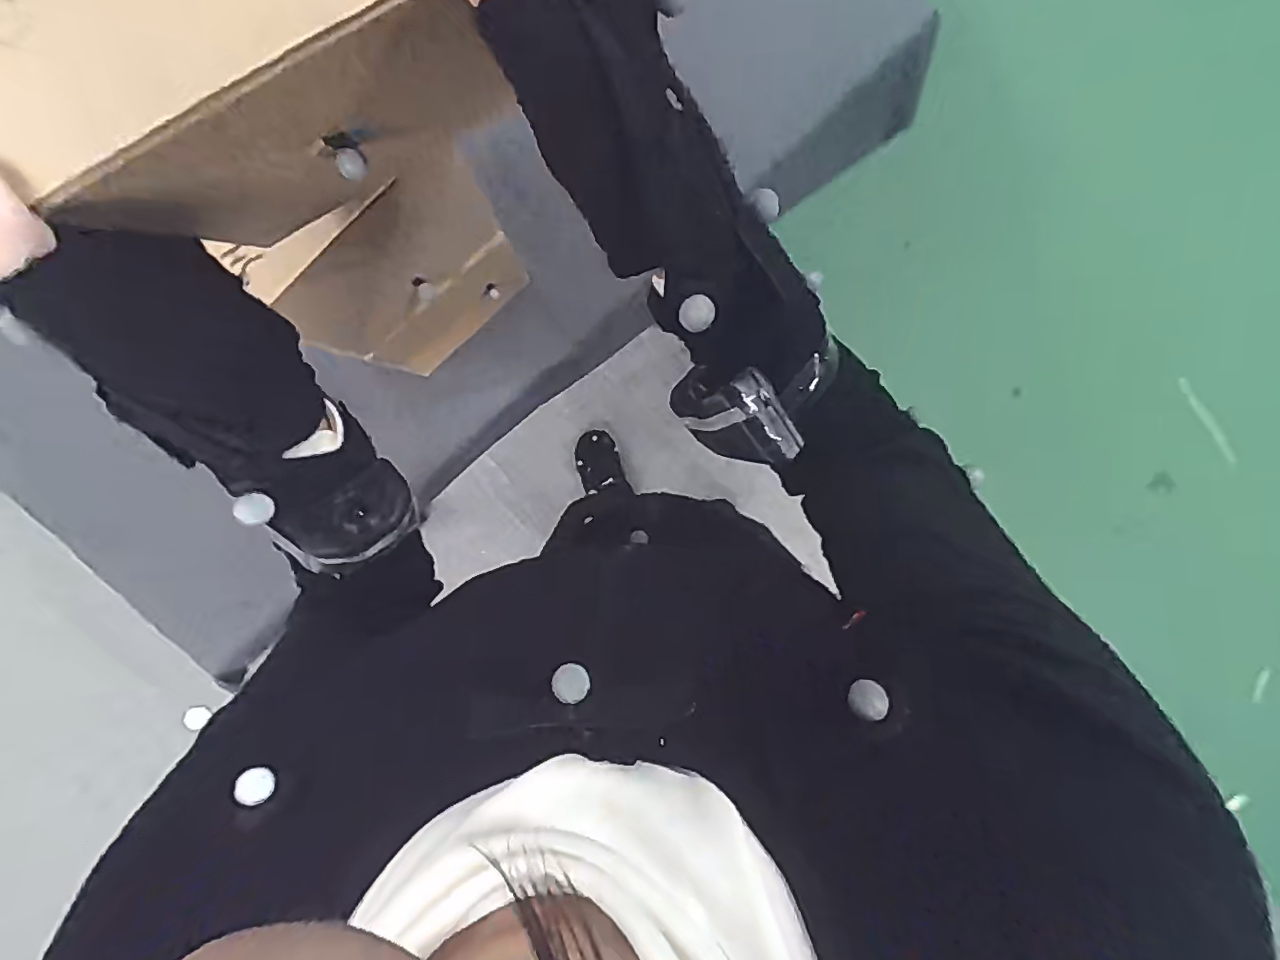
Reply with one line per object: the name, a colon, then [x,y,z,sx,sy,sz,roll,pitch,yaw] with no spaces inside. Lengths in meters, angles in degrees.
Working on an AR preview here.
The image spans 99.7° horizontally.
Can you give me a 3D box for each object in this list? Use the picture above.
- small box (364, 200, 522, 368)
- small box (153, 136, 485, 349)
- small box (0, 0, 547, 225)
small box: [-0.244,-0.240,0.573,0.179,0.176,0.168,-43,96,3]
small box: [-0.239,-0.226,0.410,0.179,0.176,0.168,-44,96,1]
small box: [-0.147,-0.214,0.194,0.179,0.176,0.168,-29,114,0]
